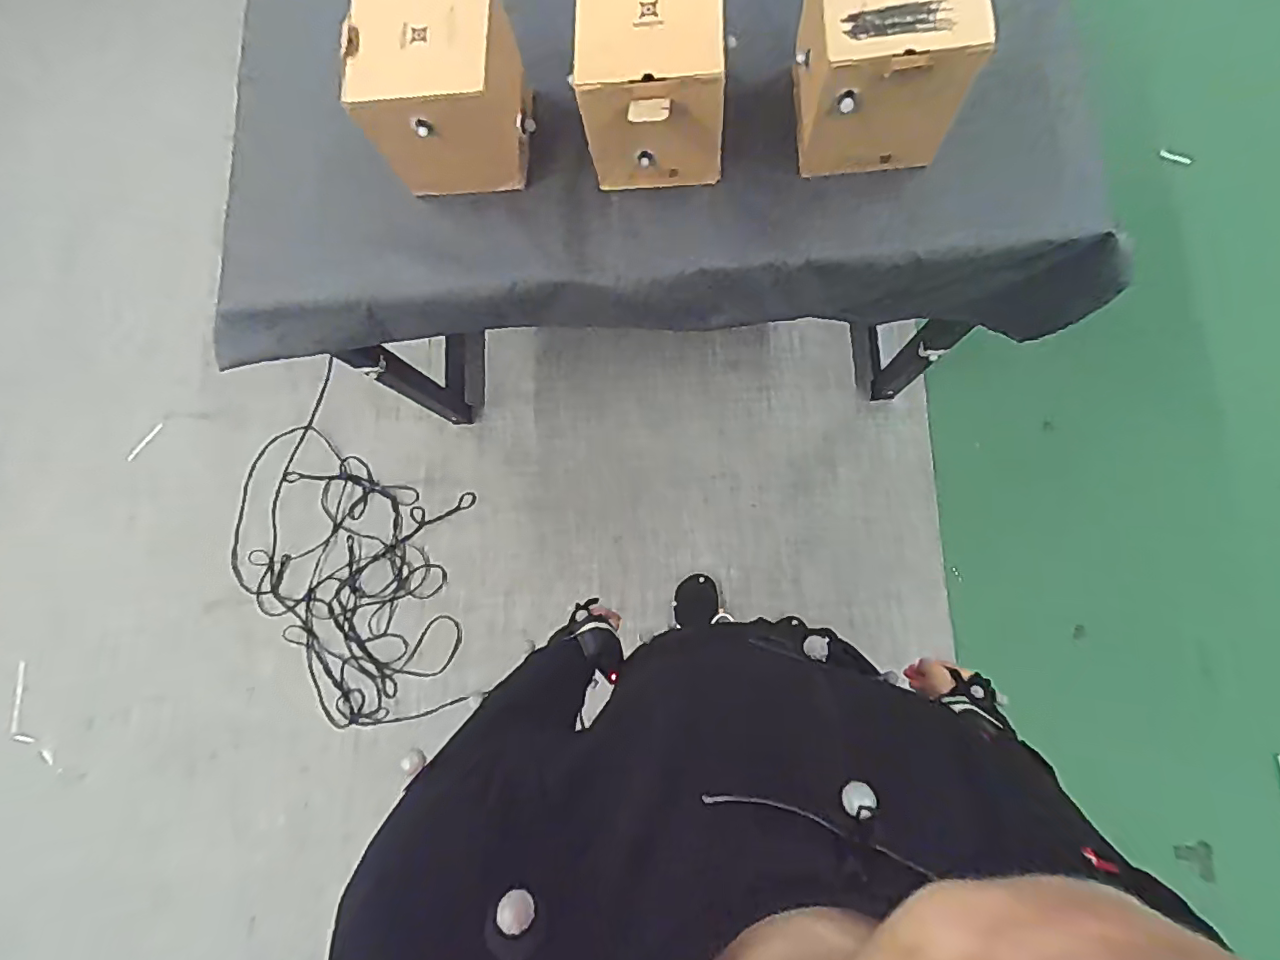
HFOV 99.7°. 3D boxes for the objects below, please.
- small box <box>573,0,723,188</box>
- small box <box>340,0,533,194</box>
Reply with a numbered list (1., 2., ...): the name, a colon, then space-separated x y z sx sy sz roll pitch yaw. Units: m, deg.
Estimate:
1. small box: 0.016 -0.502 0.677 0.168 0.176 0.179 -1 81 6
2. small box: -0.252 -0.501 0.706 0.179 0.176 0.168 0 82 5
